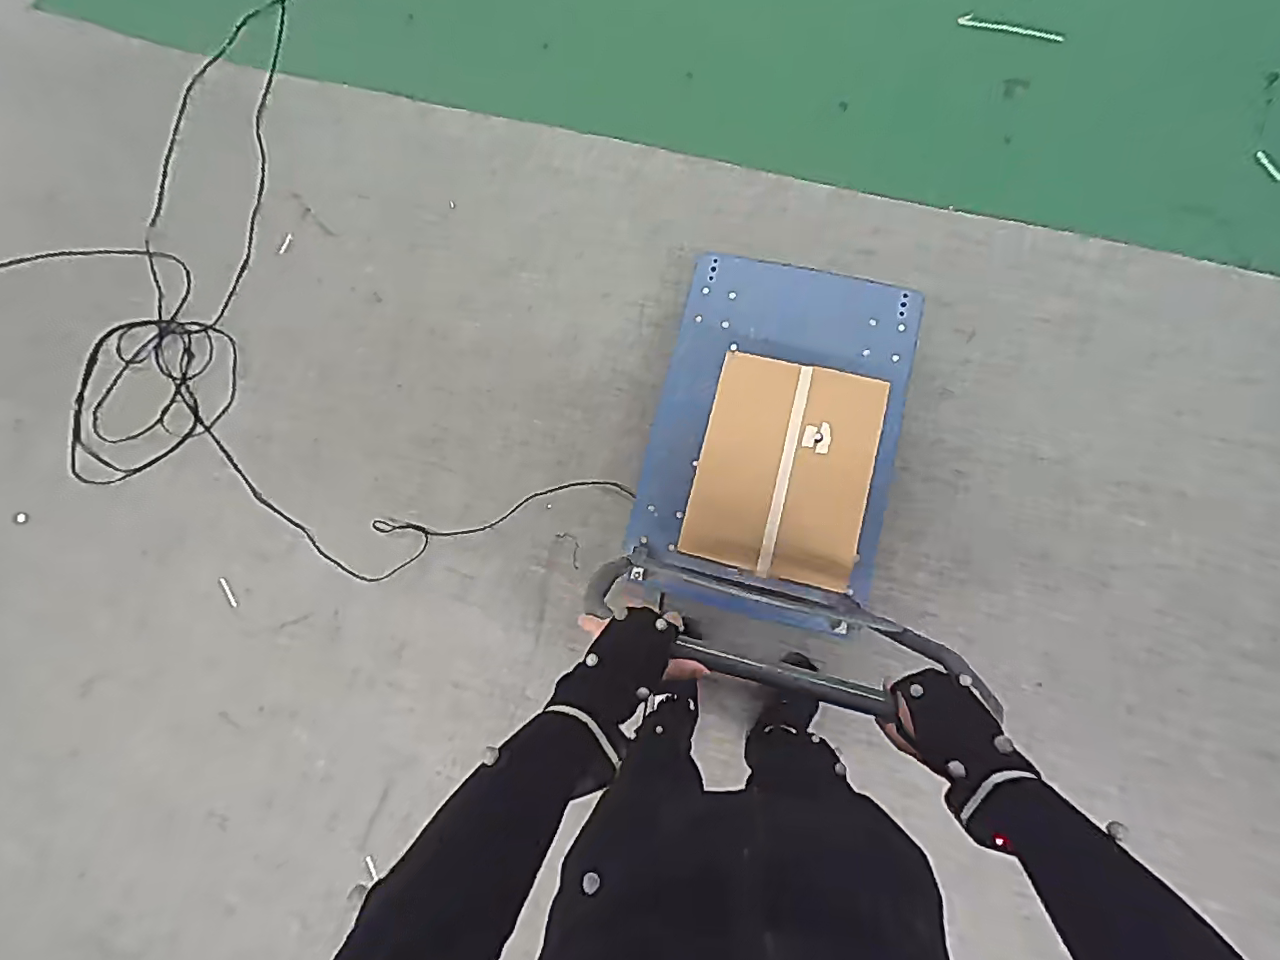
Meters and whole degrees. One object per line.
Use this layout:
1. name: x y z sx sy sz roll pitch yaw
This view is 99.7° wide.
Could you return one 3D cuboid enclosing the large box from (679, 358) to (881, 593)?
1. large box: 0.278 0.009 1.152 0.320 0.320 0.408 13 81 7
